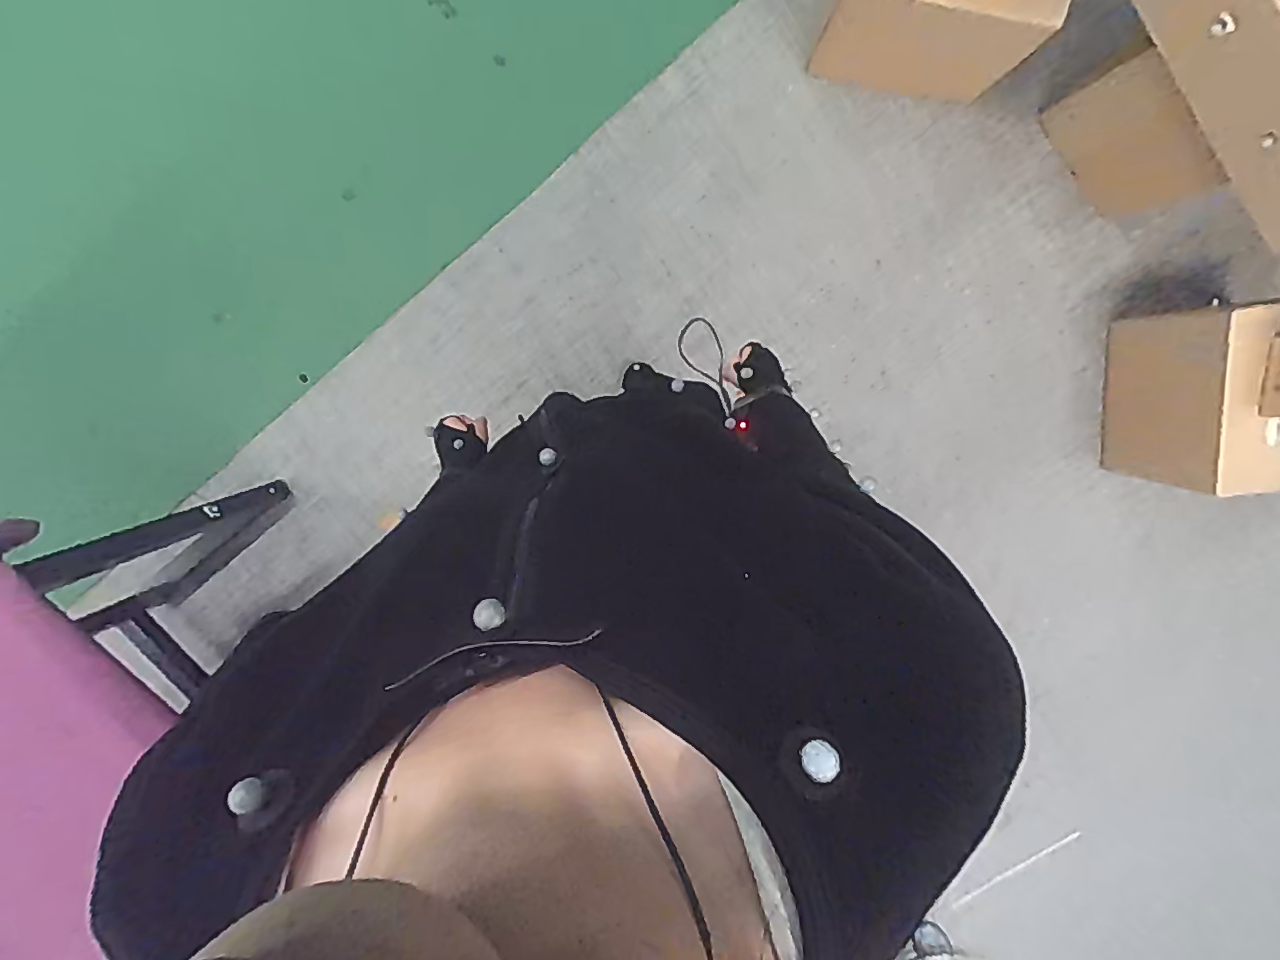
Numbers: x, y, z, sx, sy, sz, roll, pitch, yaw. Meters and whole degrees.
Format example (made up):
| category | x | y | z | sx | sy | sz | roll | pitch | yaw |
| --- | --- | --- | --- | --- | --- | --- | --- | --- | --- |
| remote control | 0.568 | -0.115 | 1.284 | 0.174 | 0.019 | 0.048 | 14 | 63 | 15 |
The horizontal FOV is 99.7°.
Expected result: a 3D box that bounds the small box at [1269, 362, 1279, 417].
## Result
| category | x | y | z | sx | sy | sz | roll | pitch | yaw |
| --- | --- | --- | --- | --- | --- | --- | --- | --- | --- |
| small box | 1.380 | -0.197 | 1.019 | 0.179 | 0.176 | 0.168 | -4 | 102 | 2 |
